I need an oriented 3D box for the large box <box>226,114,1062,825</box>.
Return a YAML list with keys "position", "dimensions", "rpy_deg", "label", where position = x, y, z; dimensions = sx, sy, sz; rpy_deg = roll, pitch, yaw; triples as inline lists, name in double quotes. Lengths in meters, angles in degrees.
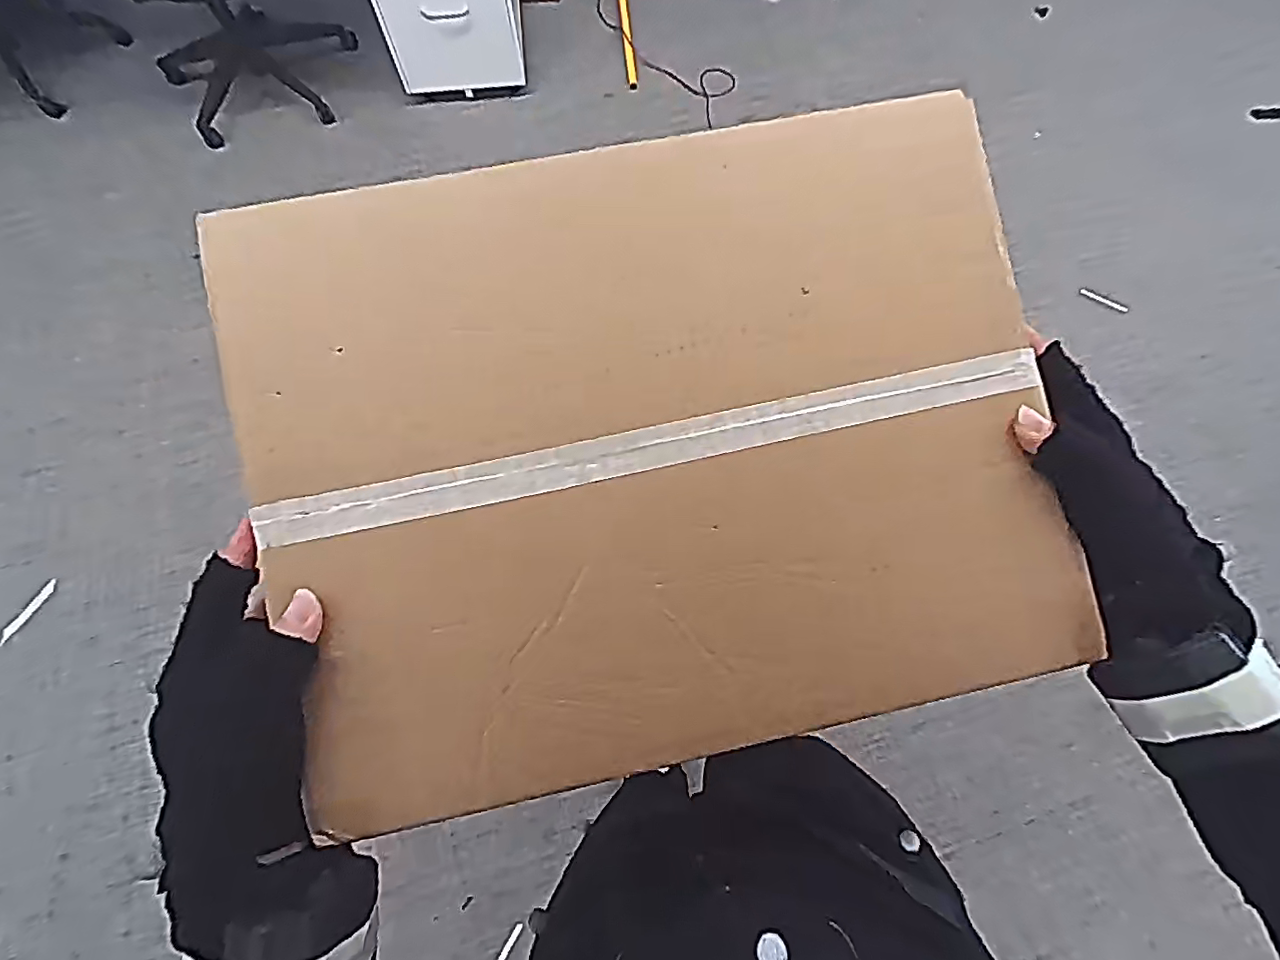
- position: [0.002, -0.012, 0.435]
  dimensions: [0.408, 0.320, 0.320]
  rpy_deg: [-12, 87, -4]
  label: "large box"
